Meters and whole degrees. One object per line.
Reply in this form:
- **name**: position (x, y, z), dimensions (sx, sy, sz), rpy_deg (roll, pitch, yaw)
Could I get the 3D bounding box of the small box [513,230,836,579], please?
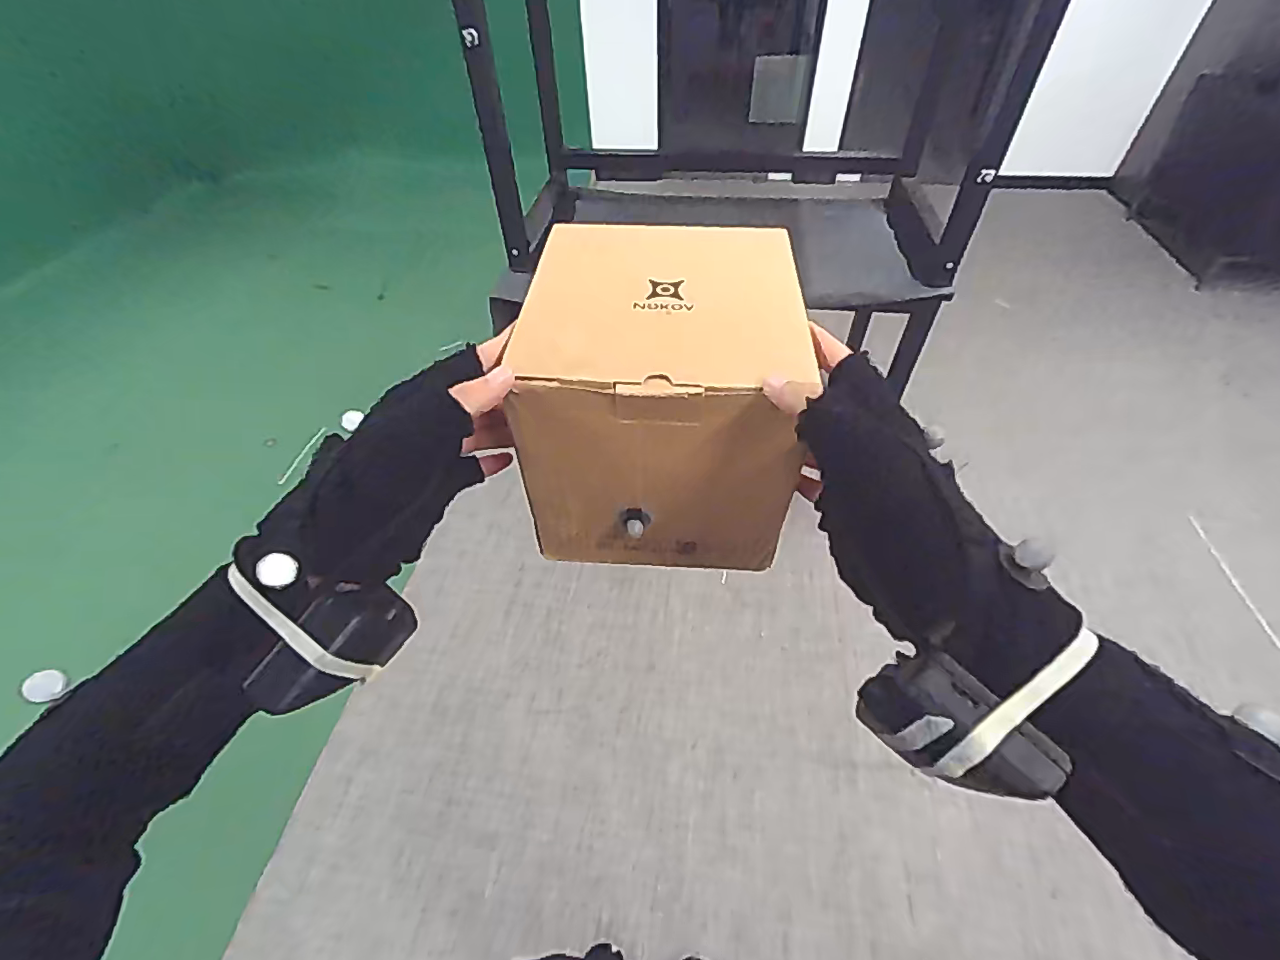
- **small box**: position (0.021, -0.052, 0.382), dimensions (0.168, 0.176, 0.179), rpy_deg (3, 50, 2)
